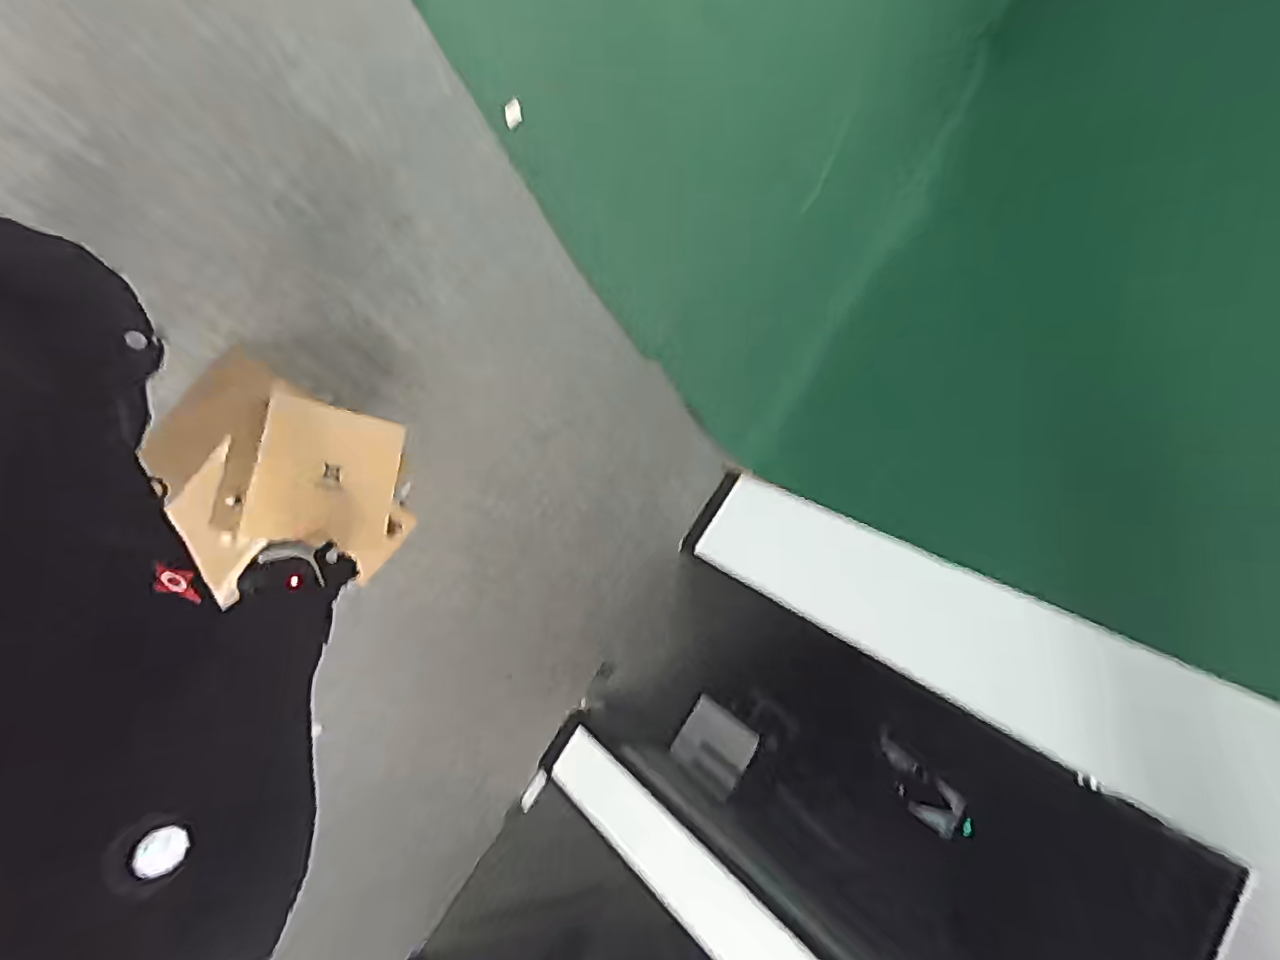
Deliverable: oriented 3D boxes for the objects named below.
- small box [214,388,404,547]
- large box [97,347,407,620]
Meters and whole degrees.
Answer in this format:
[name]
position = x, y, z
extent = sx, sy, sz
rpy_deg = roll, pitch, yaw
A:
[small box]
position = -0.451, -0.008, 0.737
extent = 0.168, 0.176, 0.179
rpy_deg = 16, 78, -46
[large box]
position = -0.777, 0.005, 1.106
extent = 0.408, 0.320, 0.320
rpy_deg = -55, 142, -9
